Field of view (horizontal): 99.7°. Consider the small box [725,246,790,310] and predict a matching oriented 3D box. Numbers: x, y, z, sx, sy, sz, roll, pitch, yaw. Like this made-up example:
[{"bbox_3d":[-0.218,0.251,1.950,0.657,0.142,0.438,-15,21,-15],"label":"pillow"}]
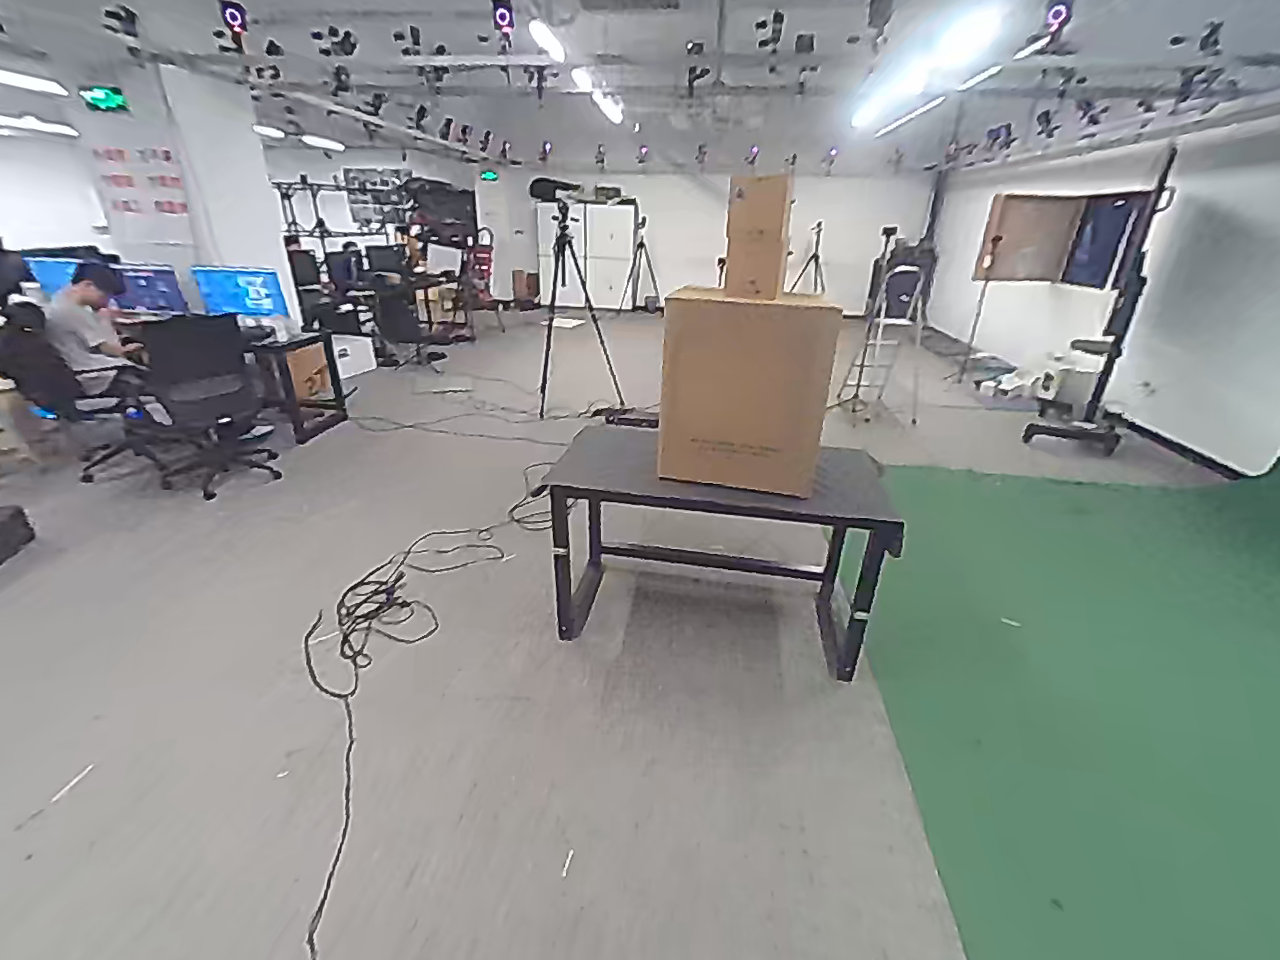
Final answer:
[{"bbox_3d":[0.372,-0.643,1.712,0.168,0.176,0.179,11,28,17],"label":"small box"}]
